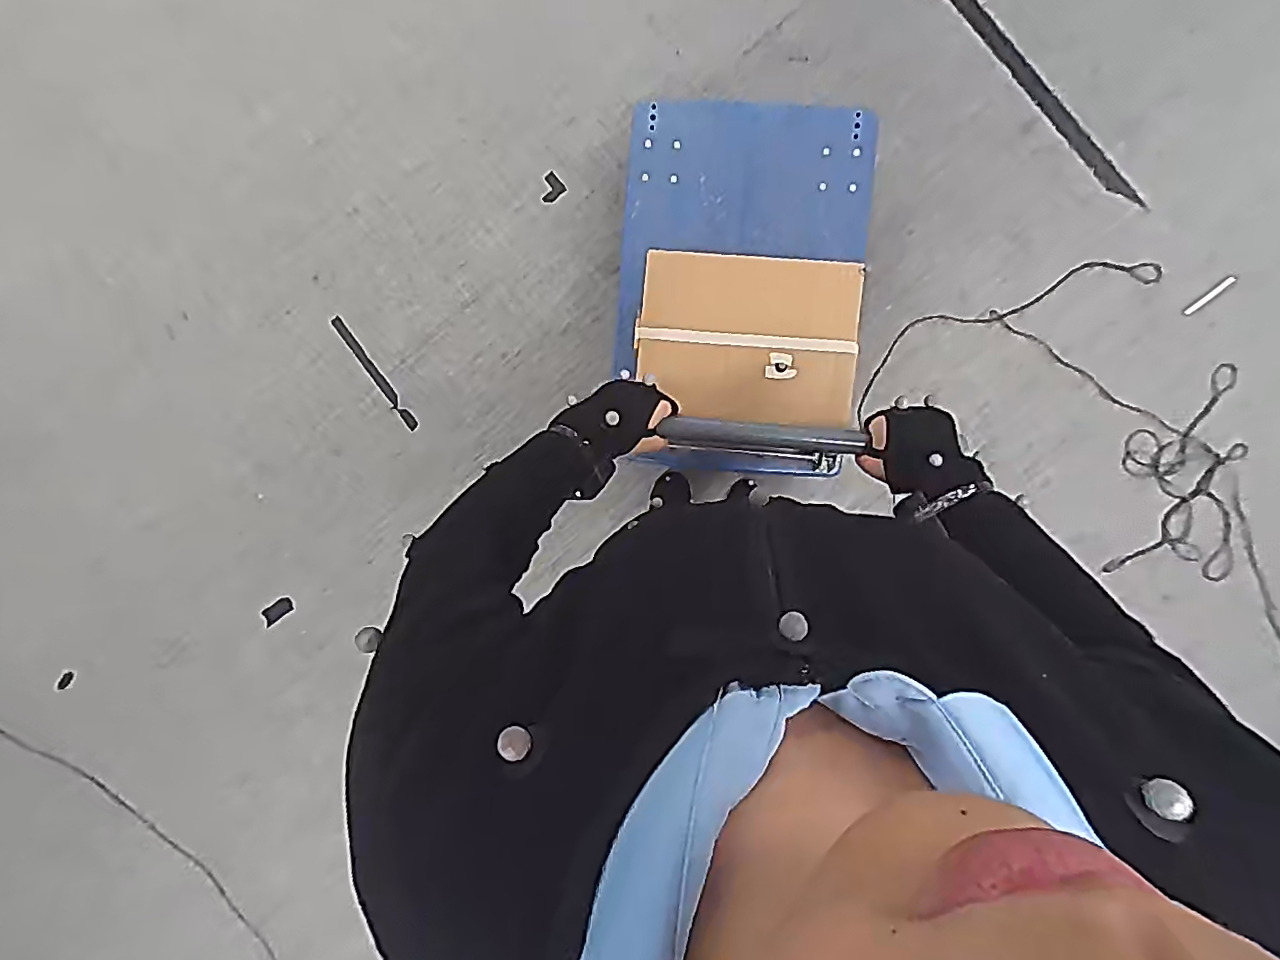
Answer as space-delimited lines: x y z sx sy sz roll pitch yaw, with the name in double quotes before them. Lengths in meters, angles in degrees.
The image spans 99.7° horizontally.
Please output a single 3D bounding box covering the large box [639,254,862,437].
"large box" 0.210 -0.265 1.165 0.408 0.320 0.320 5 93 3
